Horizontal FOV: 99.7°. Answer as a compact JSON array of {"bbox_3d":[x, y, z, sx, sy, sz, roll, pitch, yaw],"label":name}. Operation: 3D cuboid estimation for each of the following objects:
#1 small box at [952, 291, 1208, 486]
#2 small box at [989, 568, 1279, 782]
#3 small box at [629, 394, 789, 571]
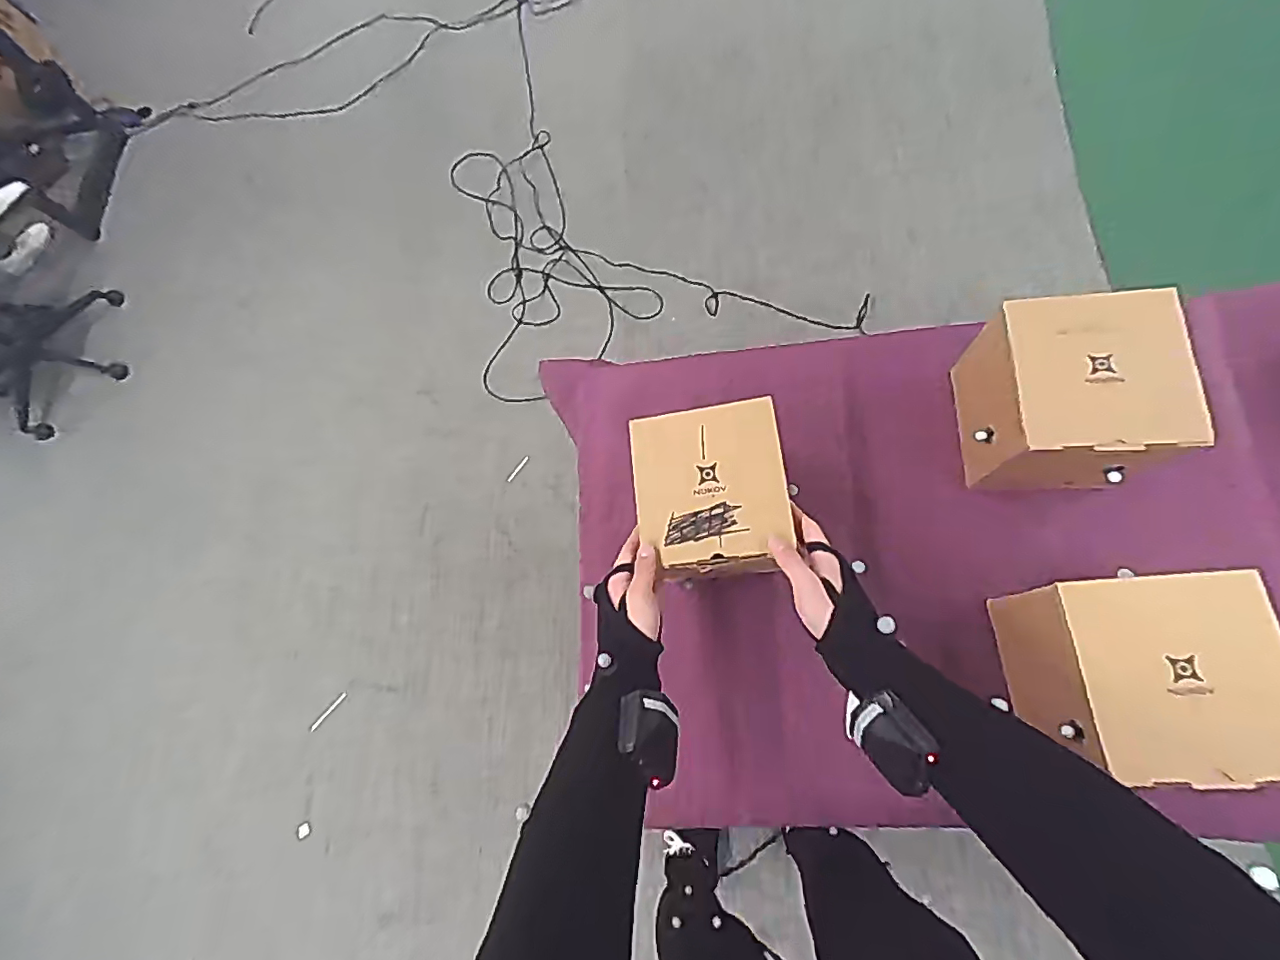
[{"bbox_3d":[0.489,-0.093,0.634,0.168,0.176,0.179,-1,74,11],"label":"small box"},{"bbox_3d":[0.490,0.193,0.551,0.168,0.176,0.179,-6,73,10],"label":"small box"},{"bbox_3d":[0.090,0.017,0.667,0.168,0.176,0.179,-8,73,12],"label":"small box"}]
